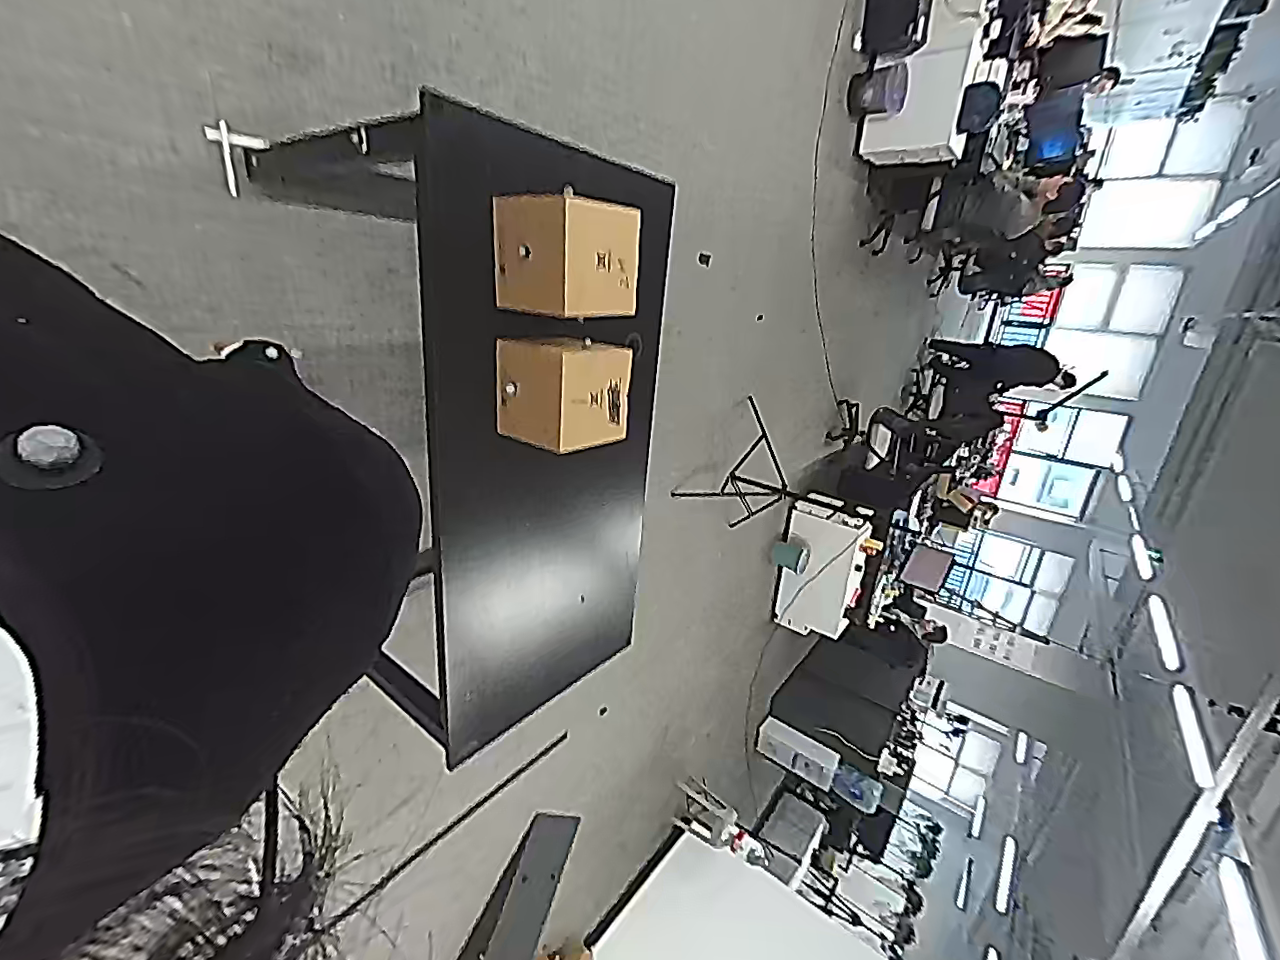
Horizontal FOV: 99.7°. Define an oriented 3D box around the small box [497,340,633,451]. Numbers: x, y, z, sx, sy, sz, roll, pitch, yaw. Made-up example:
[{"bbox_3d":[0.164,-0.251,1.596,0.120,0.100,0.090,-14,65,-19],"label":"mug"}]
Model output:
[{"bbox_3d":[-0.136,-0.162,0.981,0.179,0.176,0.168,-19,120,-49],"label":"small box"}]
